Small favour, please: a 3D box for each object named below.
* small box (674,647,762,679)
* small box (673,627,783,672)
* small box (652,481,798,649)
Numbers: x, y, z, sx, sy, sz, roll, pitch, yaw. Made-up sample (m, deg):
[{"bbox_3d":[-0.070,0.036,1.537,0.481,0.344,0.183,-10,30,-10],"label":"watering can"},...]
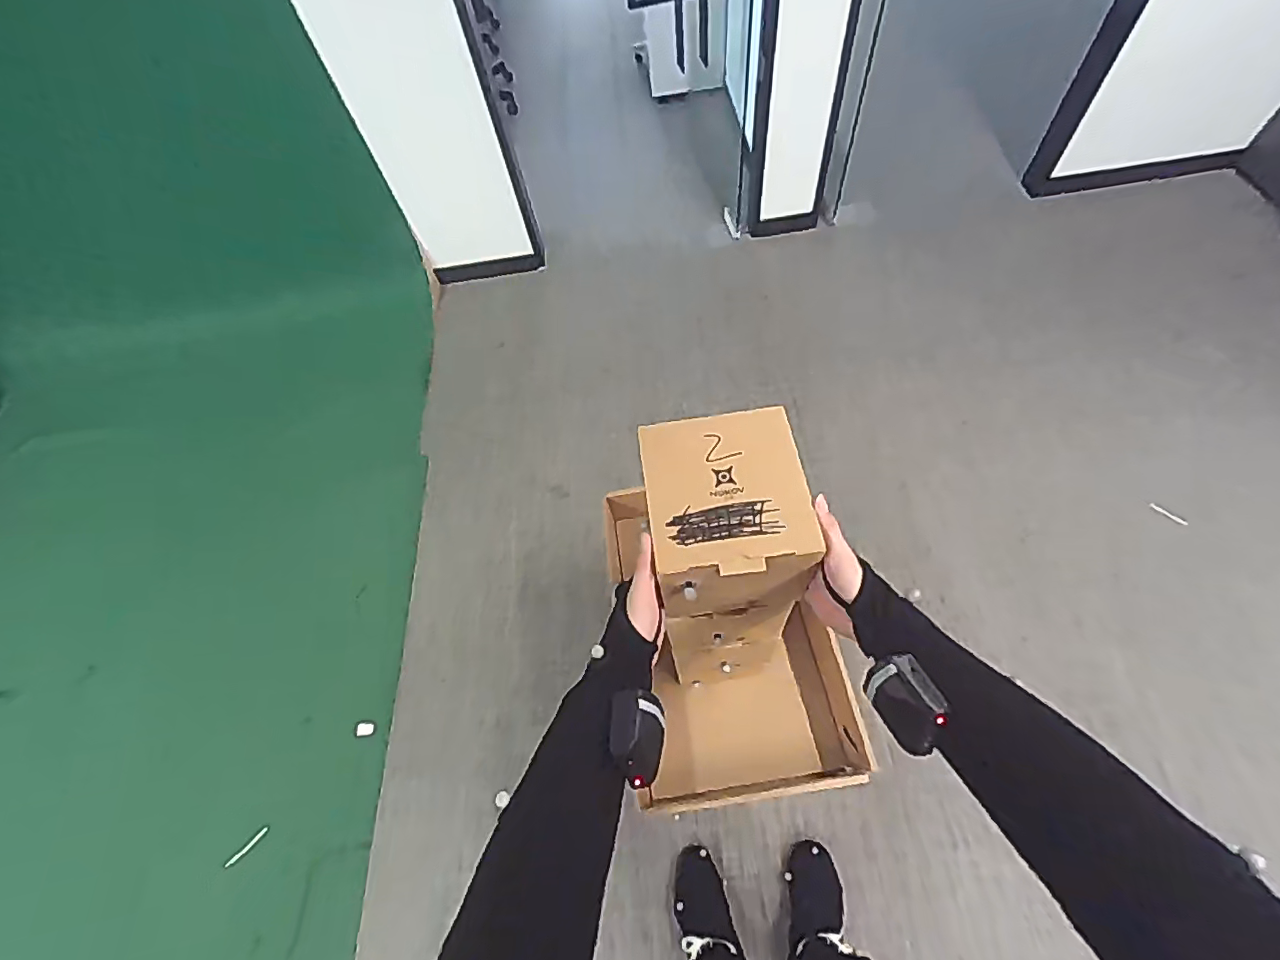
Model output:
[{"bbox_3d":[0.147,0.285,1.066,0.168,0.176,0.179,-9,58,2],"label":"small box"},{"bbox_3d":[0.131,0.212,0.918,0.168,0.176,0.179,-10,59,2],"label":"small box"},{"bbox_3d":[0.112,0.127,0.781,0.168,0.176,0.179,-10,60,1],"label":"small box"}]
